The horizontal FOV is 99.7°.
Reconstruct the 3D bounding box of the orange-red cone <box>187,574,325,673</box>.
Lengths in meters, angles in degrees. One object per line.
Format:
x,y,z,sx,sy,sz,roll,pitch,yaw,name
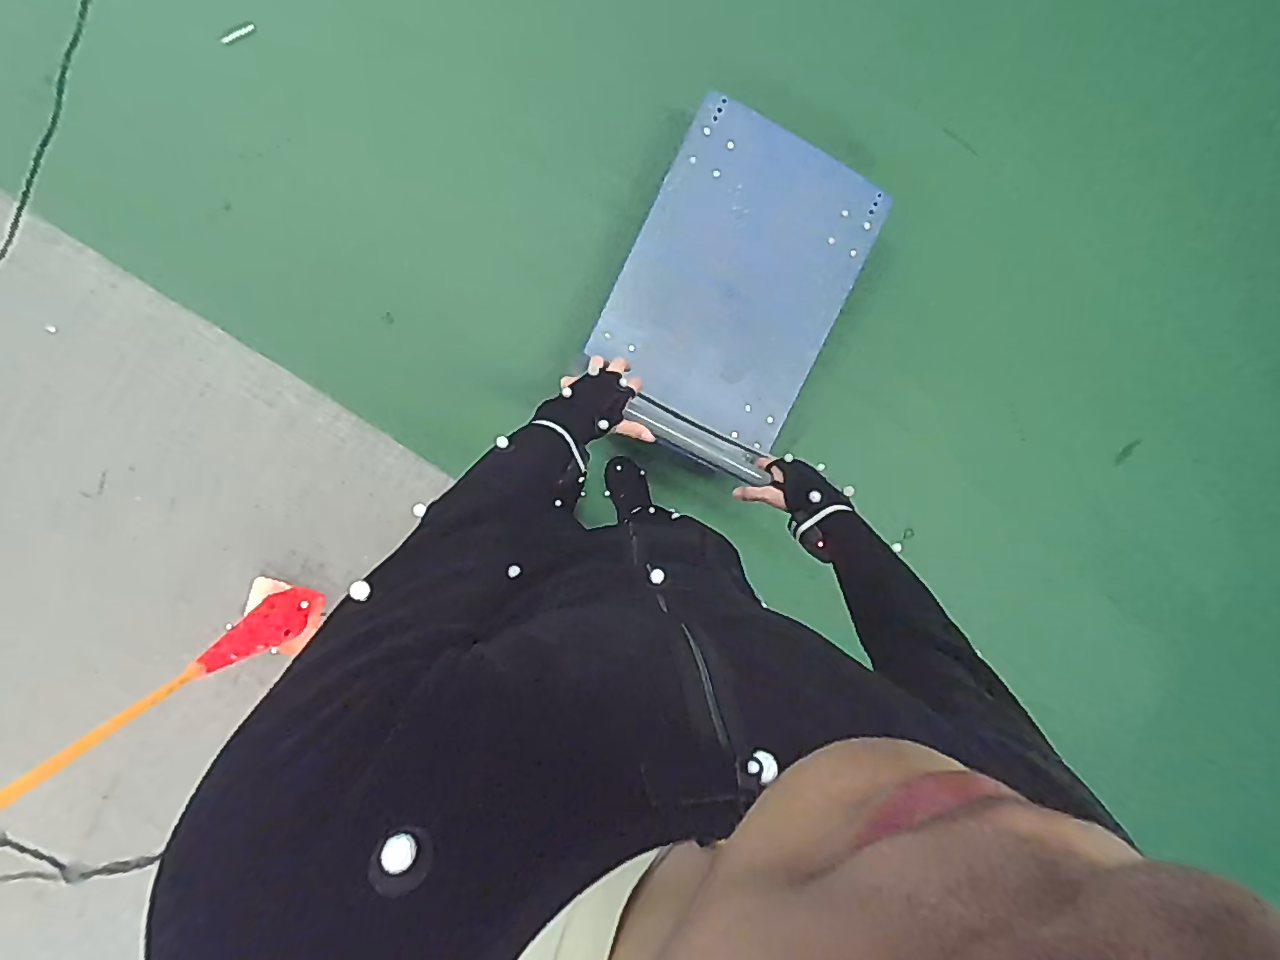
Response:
-1.005,0.397,1.373,0.199,0.360,0.198,19,93,-6,orange-red cone
